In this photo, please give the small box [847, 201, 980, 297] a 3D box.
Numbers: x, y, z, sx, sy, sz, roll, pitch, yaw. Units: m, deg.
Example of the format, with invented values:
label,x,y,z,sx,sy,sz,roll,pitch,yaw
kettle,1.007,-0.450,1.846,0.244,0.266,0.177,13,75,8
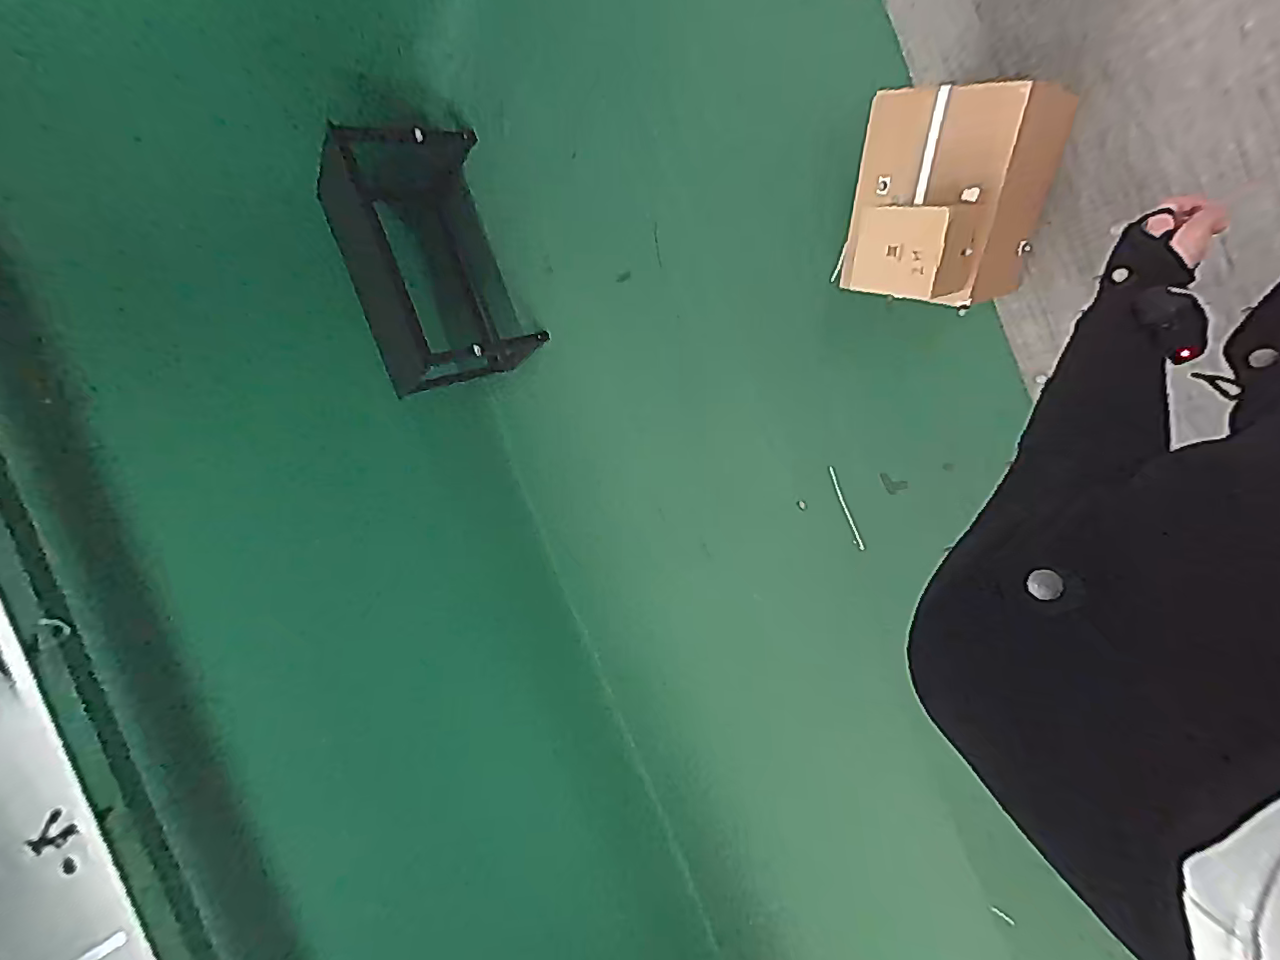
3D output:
label,x,y,z,sx,sy,sz,roll,pitch,yaw
small box,0.566,-0.485,1.125,0.179,0.176,0.168,27,128,40
